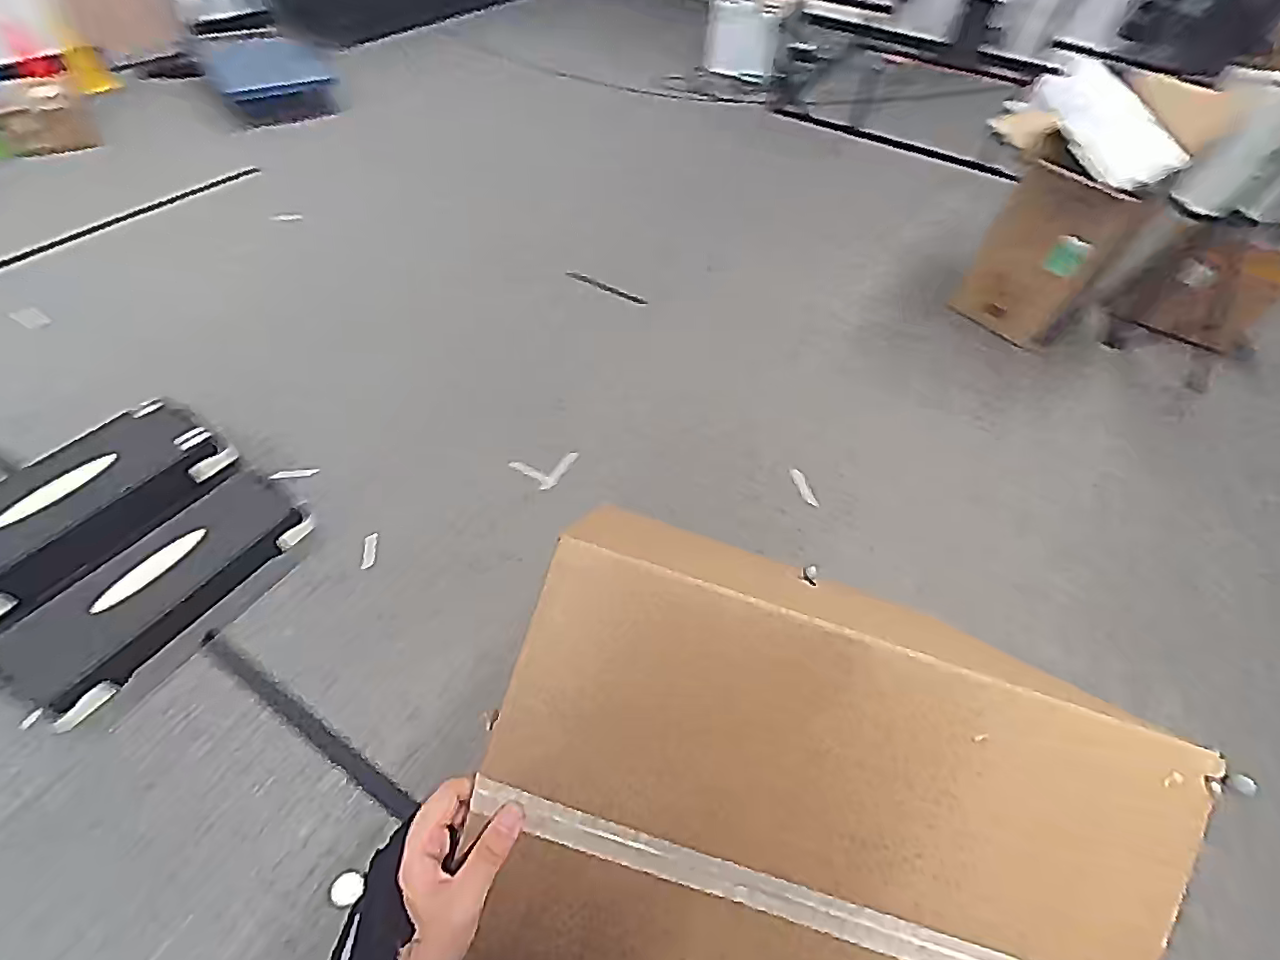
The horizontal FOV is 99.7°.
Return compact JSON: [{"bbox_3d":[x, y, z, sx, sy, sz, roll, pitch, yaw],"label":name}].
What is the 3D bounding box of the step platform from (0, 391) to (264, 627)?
[{"bbox_3d":[-1.417,0.045,1.424,0.286,0.204,0.684,33,56,19],"label":"step platform"}]
